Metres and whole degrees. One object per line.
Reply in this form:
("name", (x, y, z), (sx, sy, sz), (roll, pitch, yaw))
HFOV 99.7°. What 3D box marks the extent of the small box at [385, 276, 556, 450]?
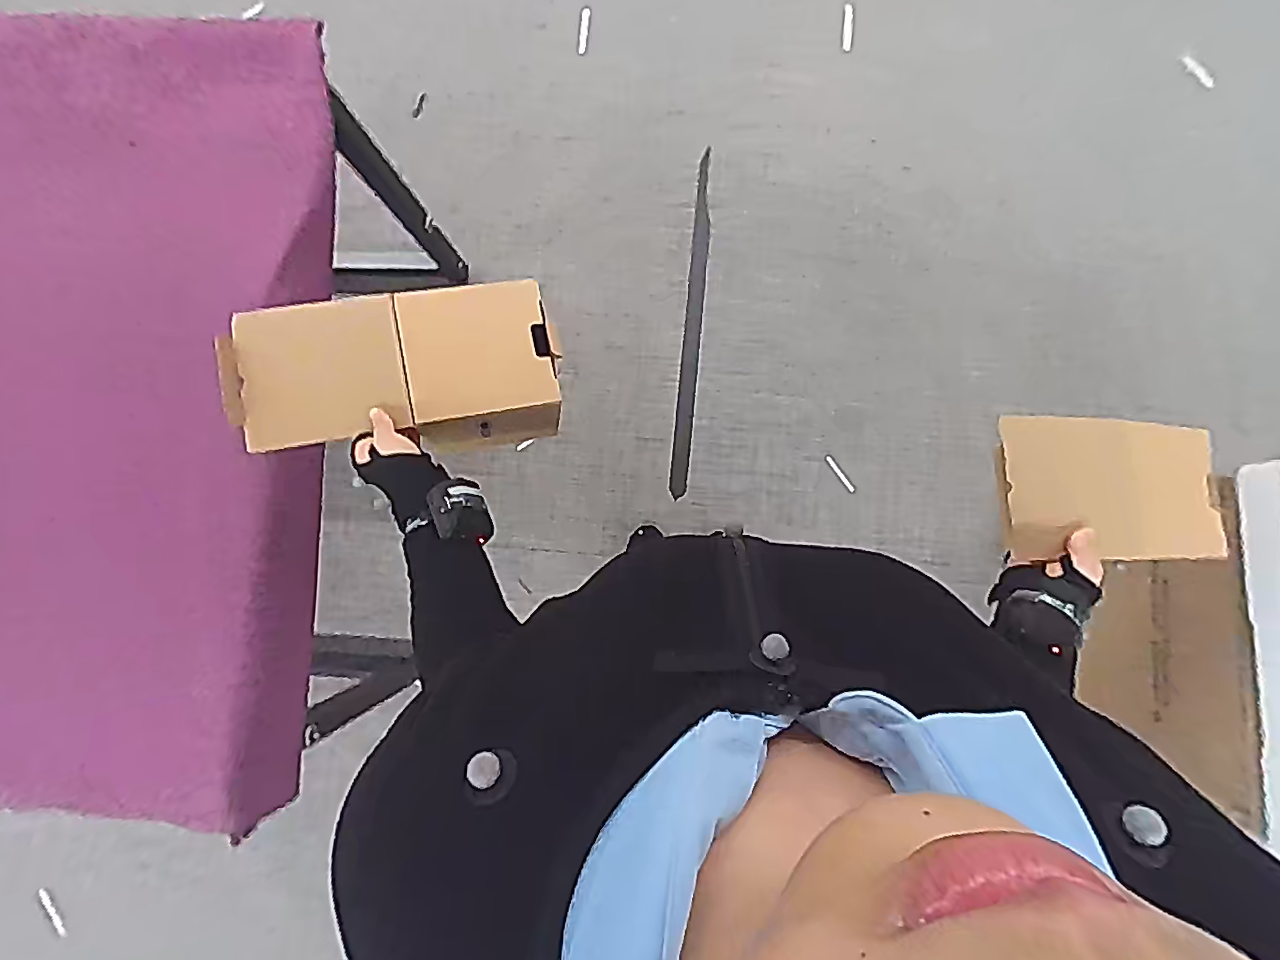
("small box", (-0.210, -0.143, 0.710), (0.179, 0.176, 0.168), (-11, 84, -12))
